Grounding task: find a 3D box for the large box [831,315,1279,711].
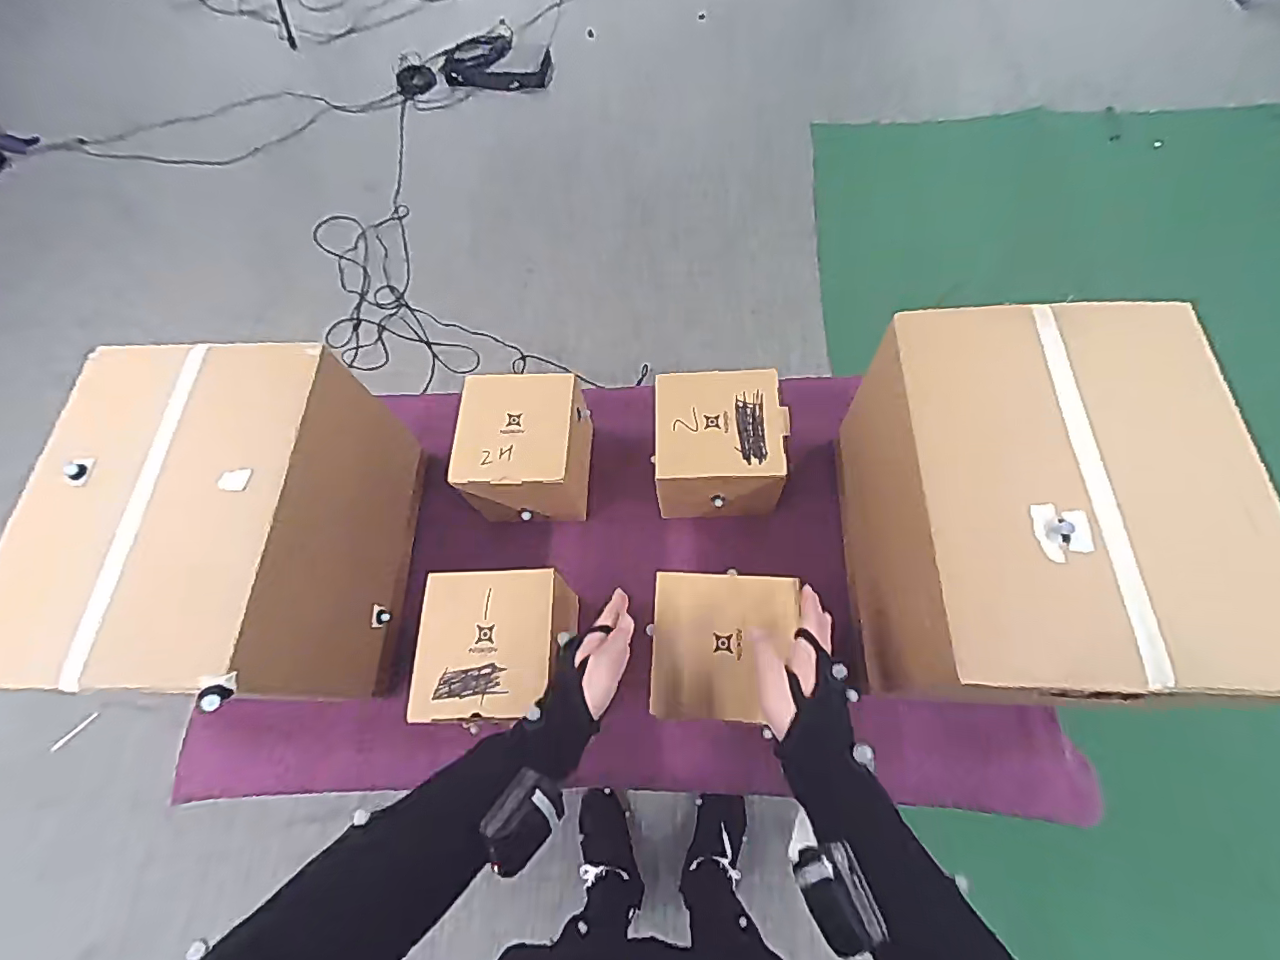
[{"bbox_3d":[0.445,0.059,0.663,0.320,0.320,0.408,0,67,6],"label":"large box"}]
